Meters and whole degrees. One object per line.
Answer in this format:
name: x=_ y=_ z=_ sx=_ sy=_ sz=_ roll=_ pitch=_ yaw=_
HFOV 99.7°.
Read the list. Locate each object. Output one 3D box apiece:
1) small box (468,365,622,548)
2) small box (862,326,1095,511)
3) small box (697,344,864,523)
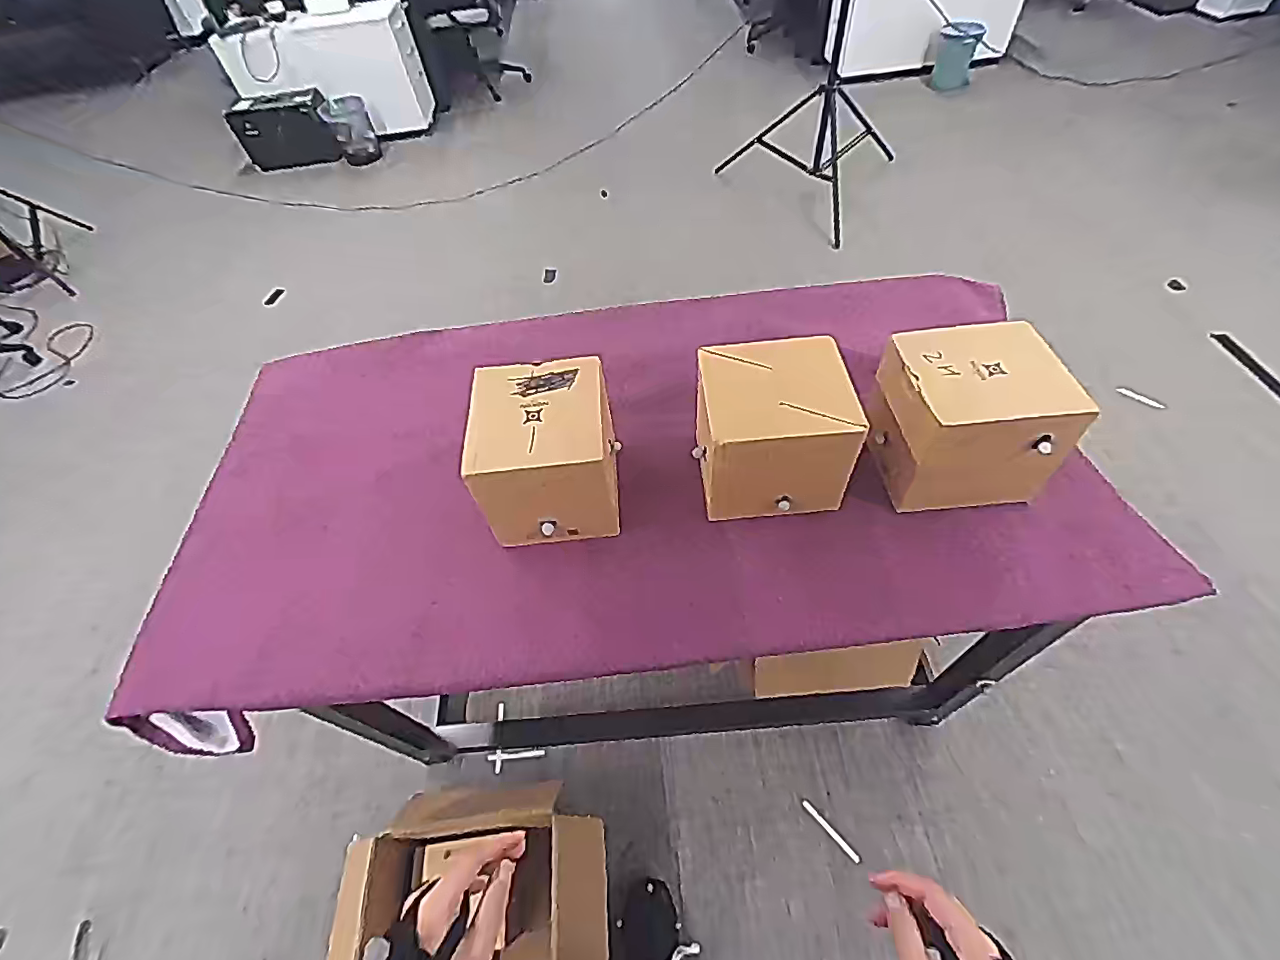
small box: x=-0.115 y=-0.029 z=0.729 sx=0.168 sy=0.176 sz=0.179 roll=-6 pitch=53 yaw=1
small box: x=0.416 y=-0.076 z=0.704 sx=0.179 sy=0.176 sz=0.168 roll=-5 pitch=51 yaw=2
small box: x=0.172 y=-0.062 z=0.719 sx=0.179 sy=0.176 sz=0.168 roll=-5 pitch=52 yaw=3
